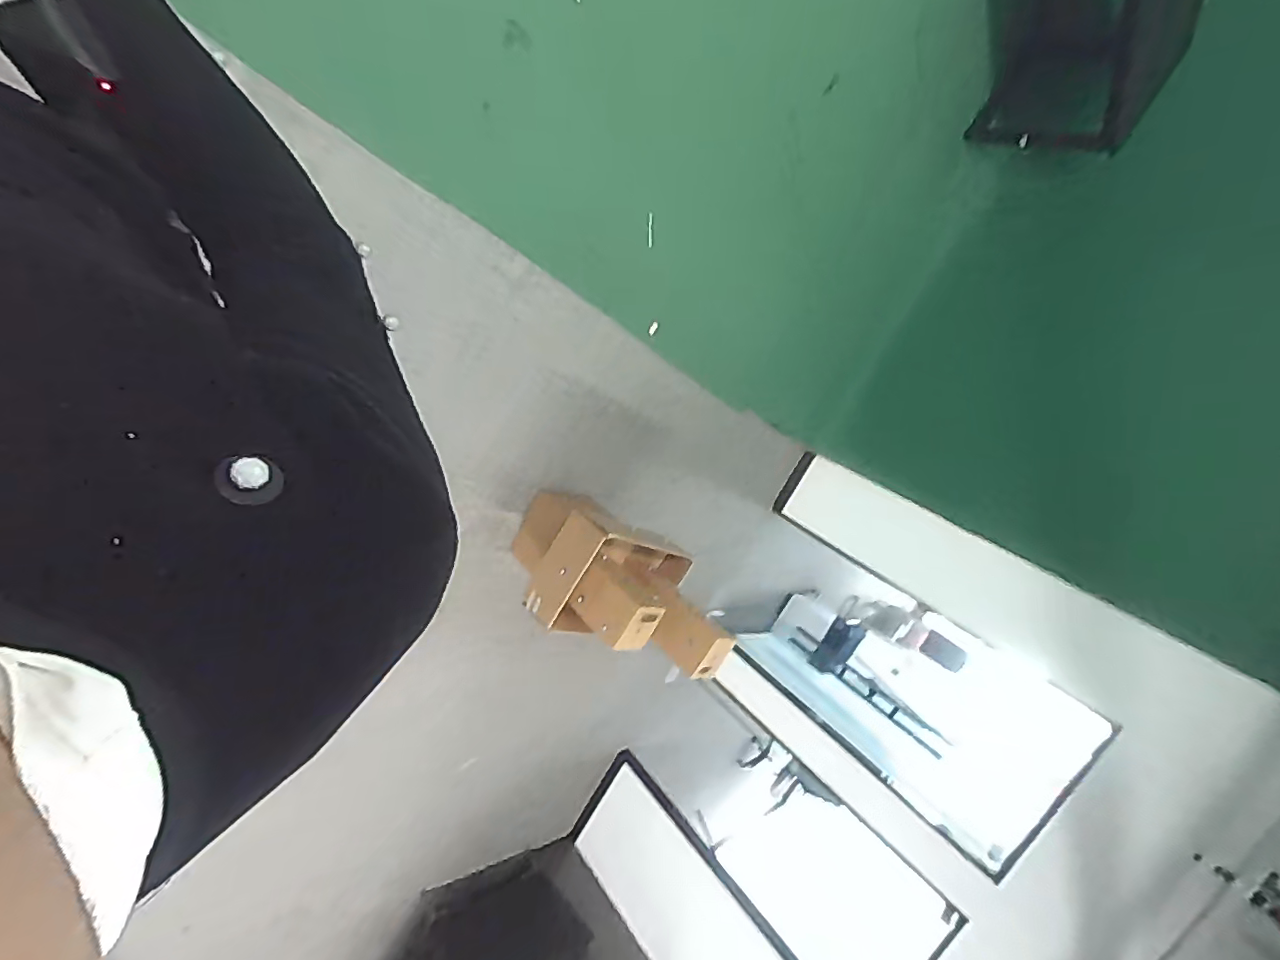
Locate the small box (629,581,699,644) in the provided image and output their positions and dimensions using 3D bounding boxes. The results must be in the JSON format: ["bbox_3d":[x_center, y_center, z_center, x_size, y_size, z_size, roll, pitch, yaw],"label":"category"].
[{"bbox_3d":[0.086,0.506,2.062,0.168,0.176,0.179,27,96,-51],"label":"small box"}]

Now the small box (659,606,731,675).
[{"bbox_3d":[0.193,0.583,1.962,0.168,0.176,0.179,26,97,-52],"label":"small box"}]

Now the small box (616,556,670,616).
[{"bbox_3d":[-0.021,0.428,2.159,0.179,0.176,0.168,-56,142,4],"label":"small box"}]

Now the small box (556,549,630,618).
[{"bbox_3d":[-0.174,0.371,1.939,0.168,0.176,0.179,22,101,-54],"label":"small box"}]
